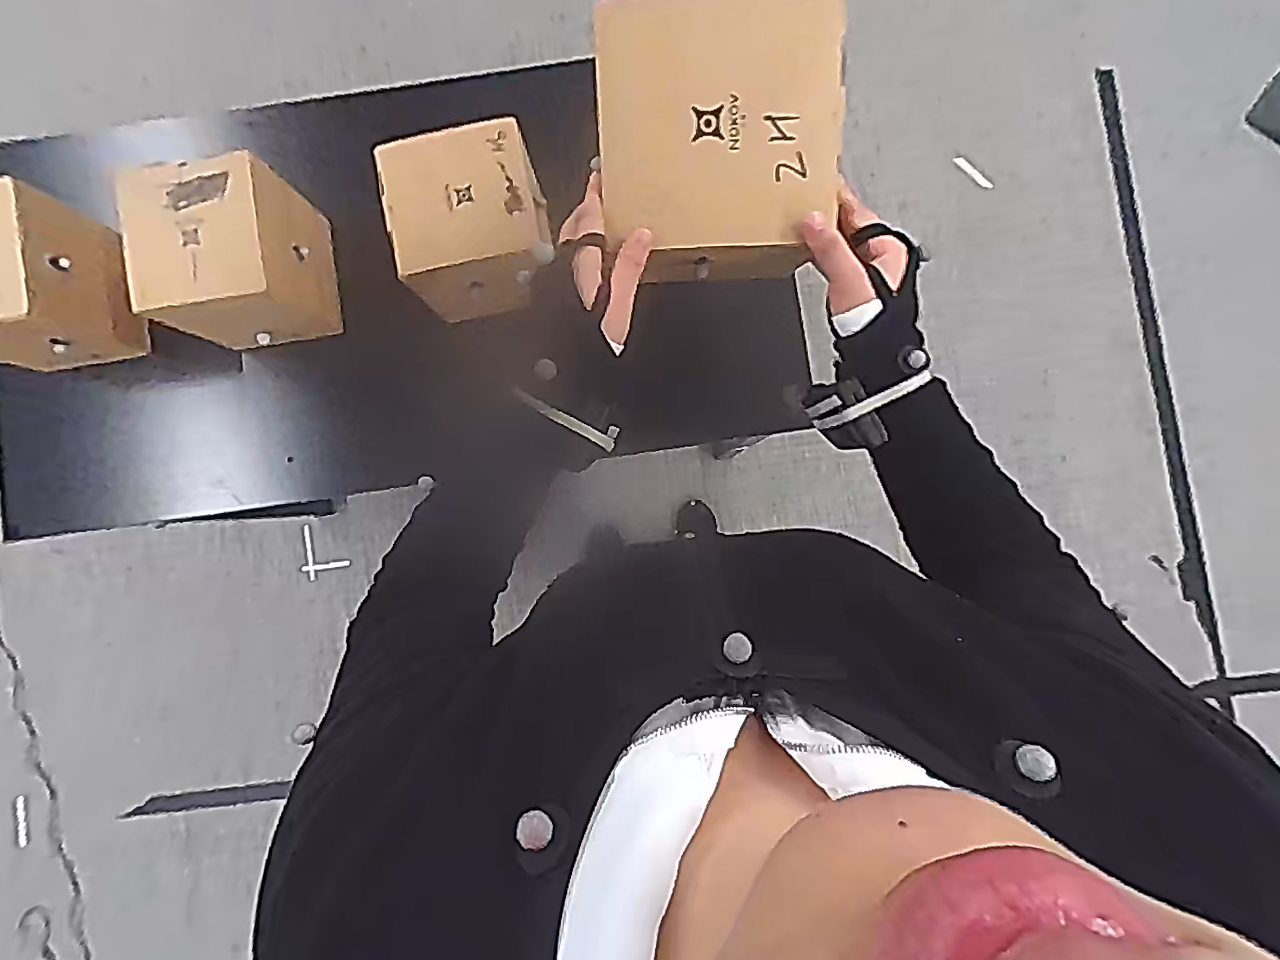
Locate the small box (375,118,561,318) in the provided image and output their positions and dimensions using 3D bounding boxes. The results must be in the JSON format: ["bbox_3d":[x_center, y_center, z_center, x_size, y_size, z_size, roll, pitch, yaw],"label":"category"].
[{"bbox_3d":[-0.218,-0.335,0.727,0.179,0.176,0.168,-12,88,0],"label":"small box"}]

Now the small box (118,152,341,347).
[{"bbox_3d":[-0.534,-0.296,0.727,0.168,0.176,0.179,-9,88,0],"label":"small box"}]

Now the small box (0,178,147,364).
[{"bbox_3d":[-0.819,-0.264,0.728,0.168,0.176,0.179,-10,87,-1],"label":"small box"}]
